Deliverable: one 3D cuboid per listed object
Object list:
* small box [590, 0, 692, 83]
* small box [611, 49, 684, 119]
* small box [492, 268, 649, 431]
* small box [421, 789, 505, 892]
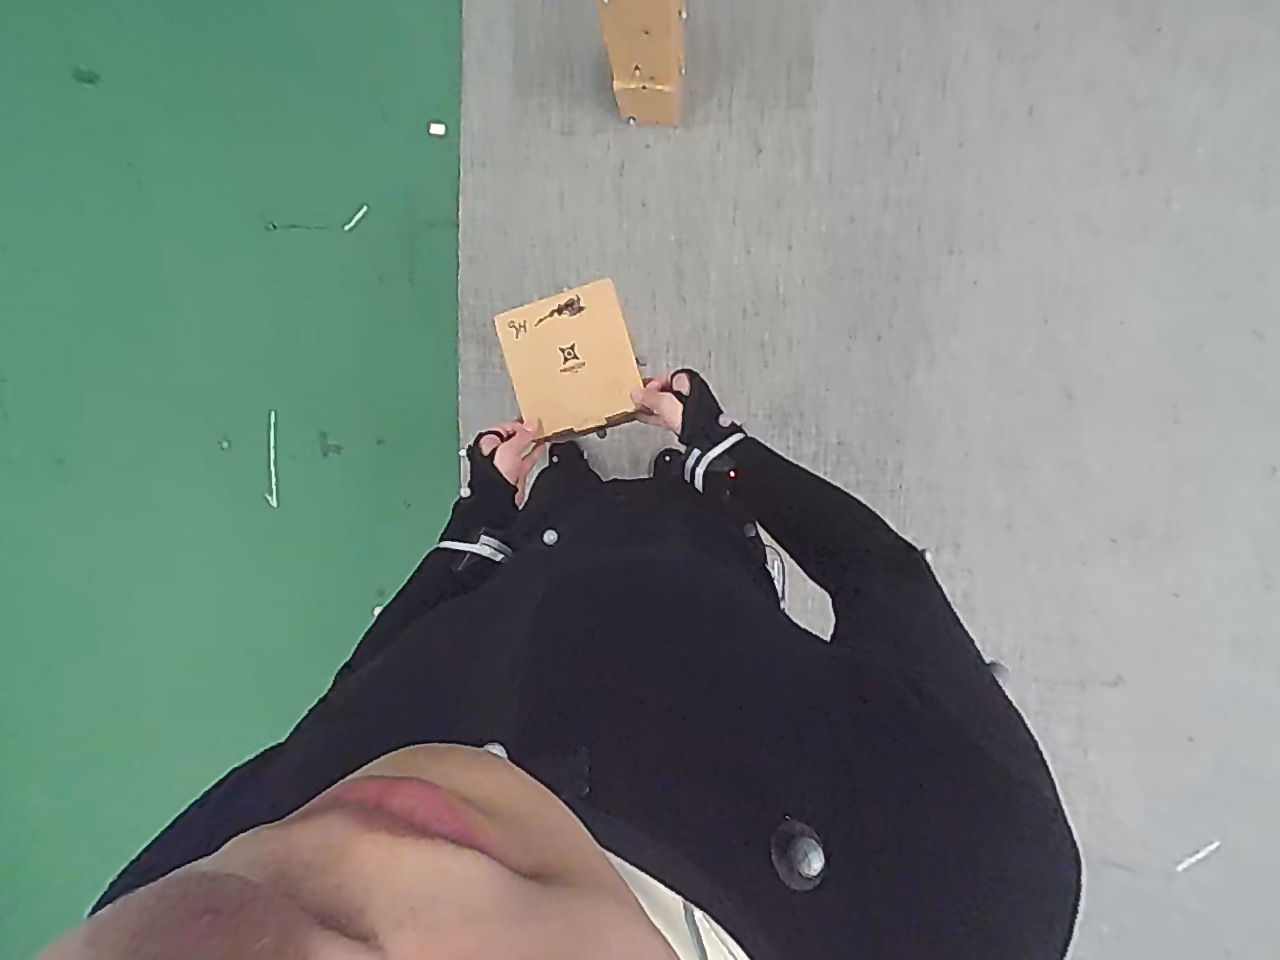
[{"bbox_3d":[0.008,-1.107,1.290,0.179,0.176,0.168,40,100,2],"label":"small box"},{"bbox_3d":[0.026,-1.102,1.444,0.168,0.176,0.179,8,96,5],"label":"small box"},{"bbox_3d":[-0.086,-0.174,0.775,0.168,0.176,0.179,-14,93,5],"label":"small box"},{"bbox_3d":[-0.491,1.002,1.517,0.179,0.176,0.168,5,95,5],"label":"small box"}]
